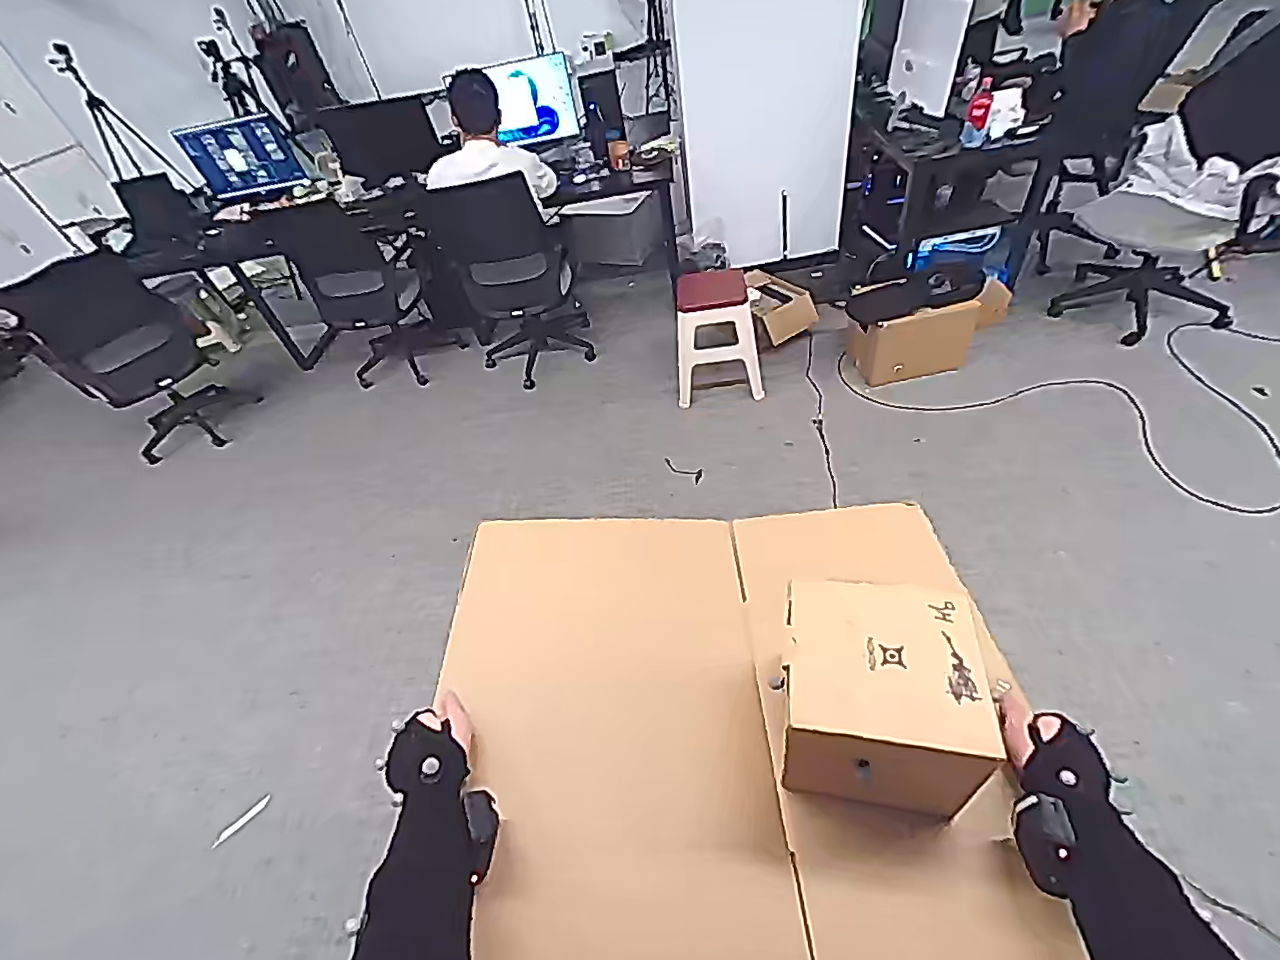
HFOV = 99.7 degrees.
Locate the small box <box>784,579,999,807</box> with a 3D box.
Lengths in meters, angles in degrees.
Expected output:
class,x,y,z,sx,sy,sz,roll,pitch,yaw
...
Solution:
class,x,y,z,sx,sy,sz,roll,pitch,yaw
small box,0.247,0.226,0.580,0.179,0.176,0.168,2,45,15
